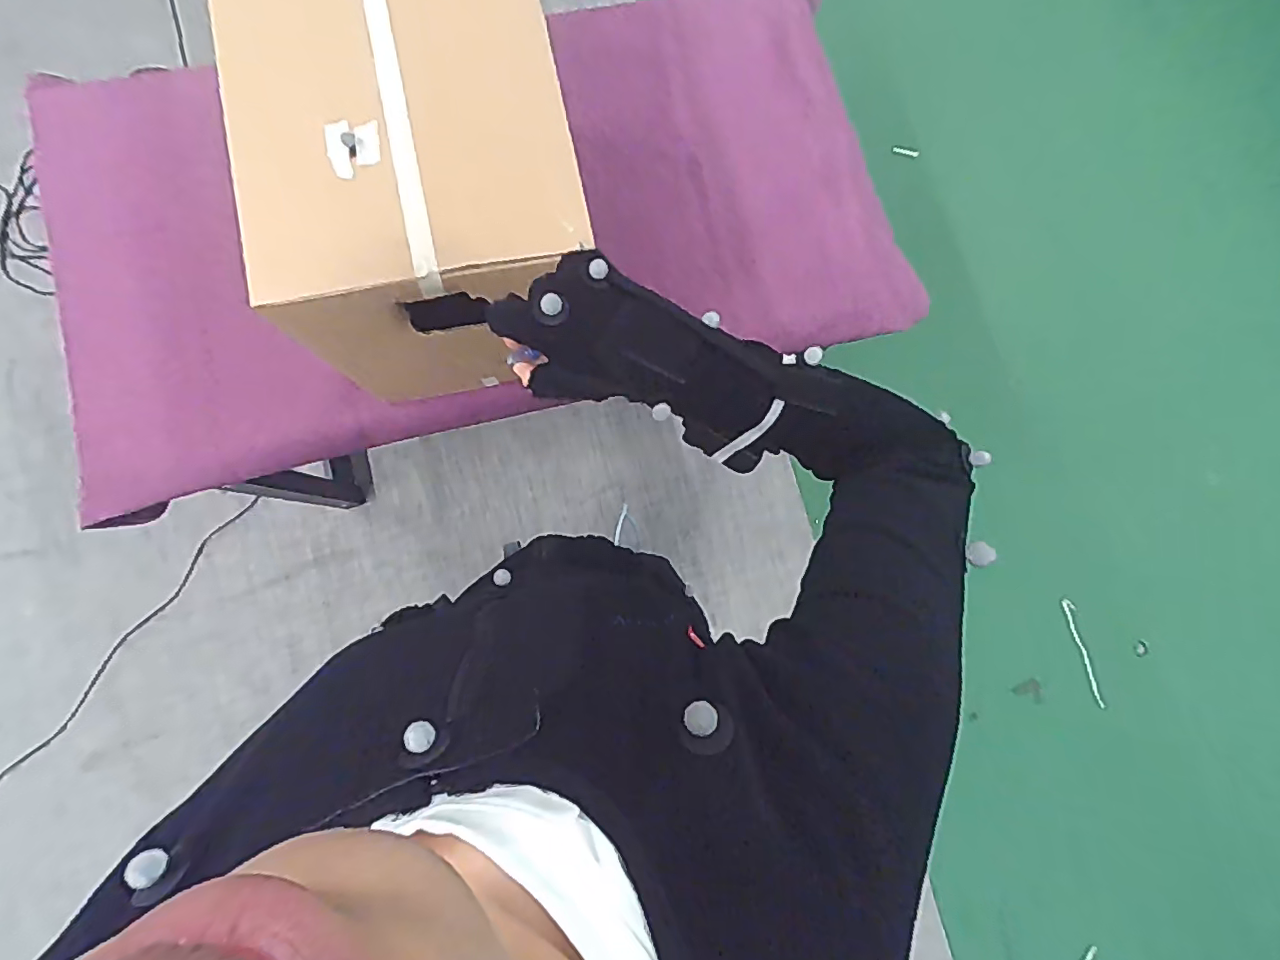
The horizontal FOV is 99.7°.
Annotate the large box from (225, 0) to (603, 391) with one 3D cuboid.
[{"bbox_3d":[-0.243,-0.366,0.677,0.320,0.320,0.408,-12,84,-6],"label":"large box"}]
